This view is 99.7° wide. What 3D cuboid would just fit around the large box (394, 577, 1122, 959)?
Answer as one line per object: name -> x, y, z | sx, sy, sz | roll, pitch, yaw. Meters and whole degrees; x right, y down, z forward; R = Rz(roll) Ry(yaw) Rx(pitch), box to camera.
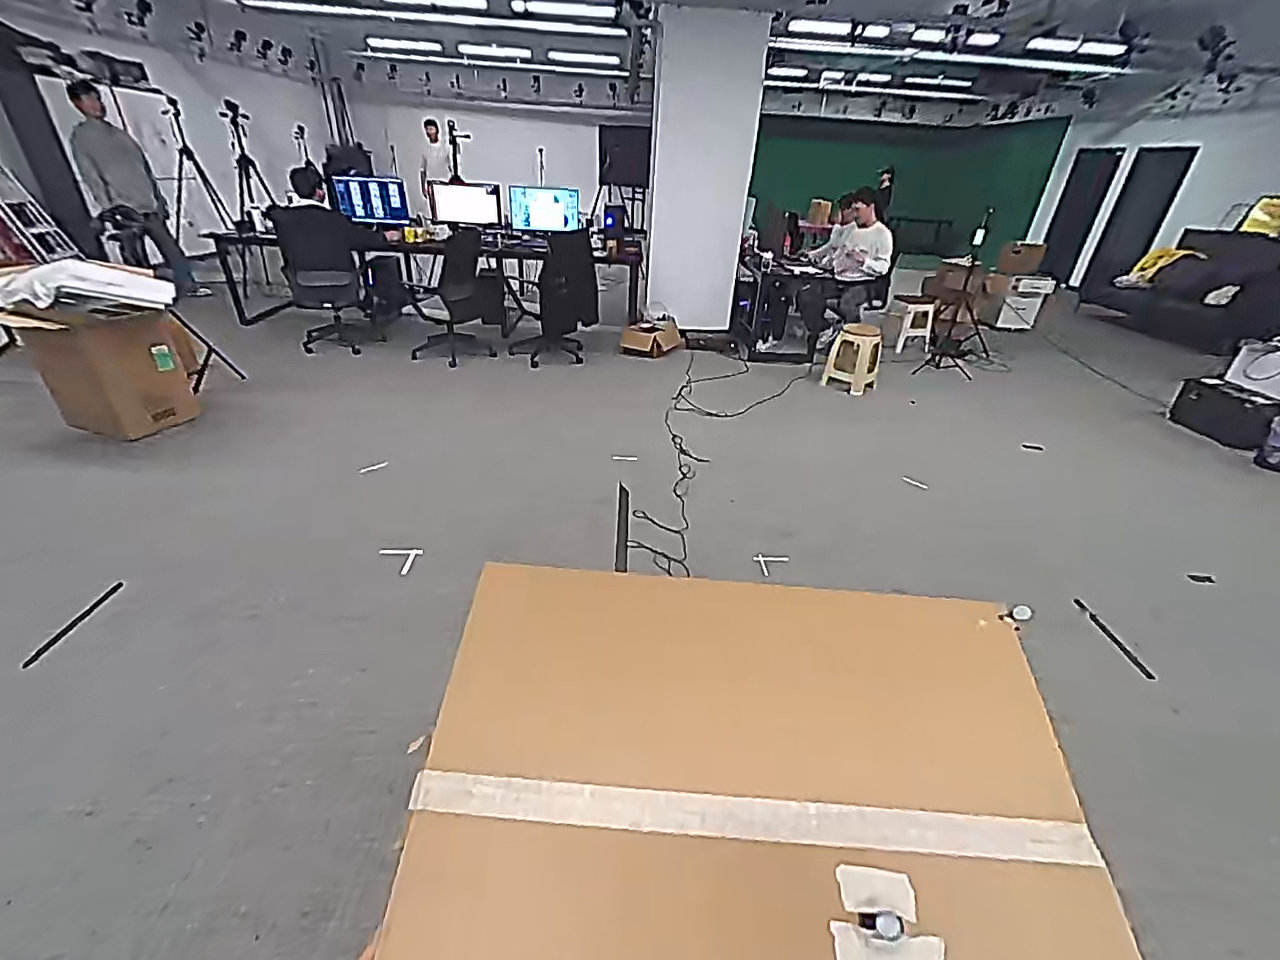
large box -> 0.063, 0.299, 0.449 | 0.408, 0.320, 0.320 | 4, 53, 1
